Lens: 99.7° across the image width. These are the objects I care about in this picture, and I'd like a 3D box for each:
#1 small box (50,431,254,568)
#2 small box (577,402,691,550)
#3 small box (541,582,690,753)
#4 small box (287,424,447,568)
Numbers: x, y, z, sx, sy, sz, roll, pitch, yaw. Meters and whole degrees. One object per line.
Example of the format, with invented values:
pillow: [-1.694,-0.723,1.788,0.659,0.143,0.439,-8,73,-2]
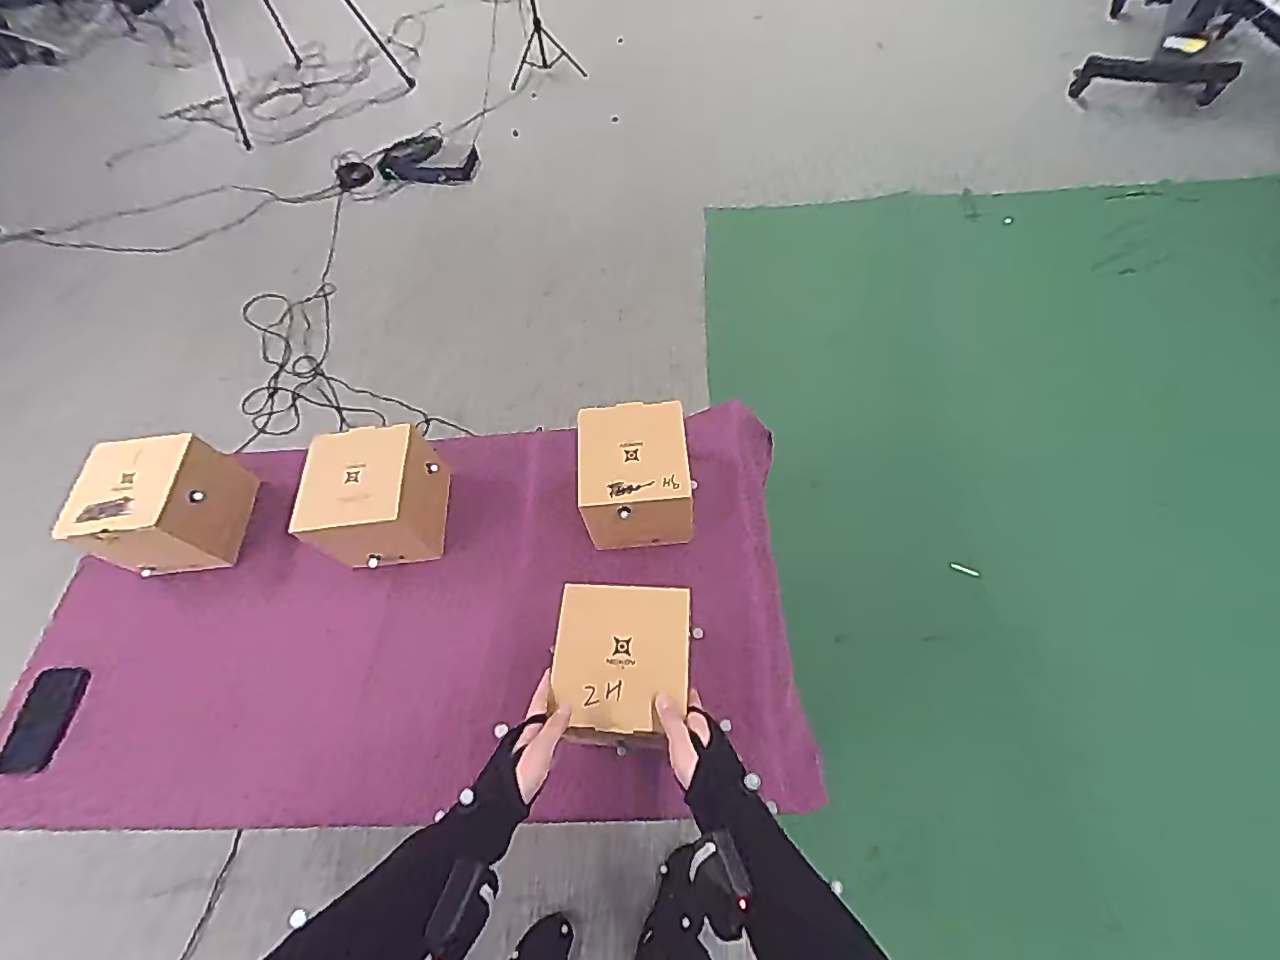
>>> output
small box: [-0.805,0.042,0.918,0.168,0.176,0.179,-6,59,1]
small box: [-0.007,-0.002,0.879,0.168,0.176,0.179,-5,59,3]
small box: [-0.021,0.253,0.720,0.168,0.176,0.179,2,59,6]
small box: [-0.434,0.030,0.897,0.168,0.176,0.179,-6,60,2]
